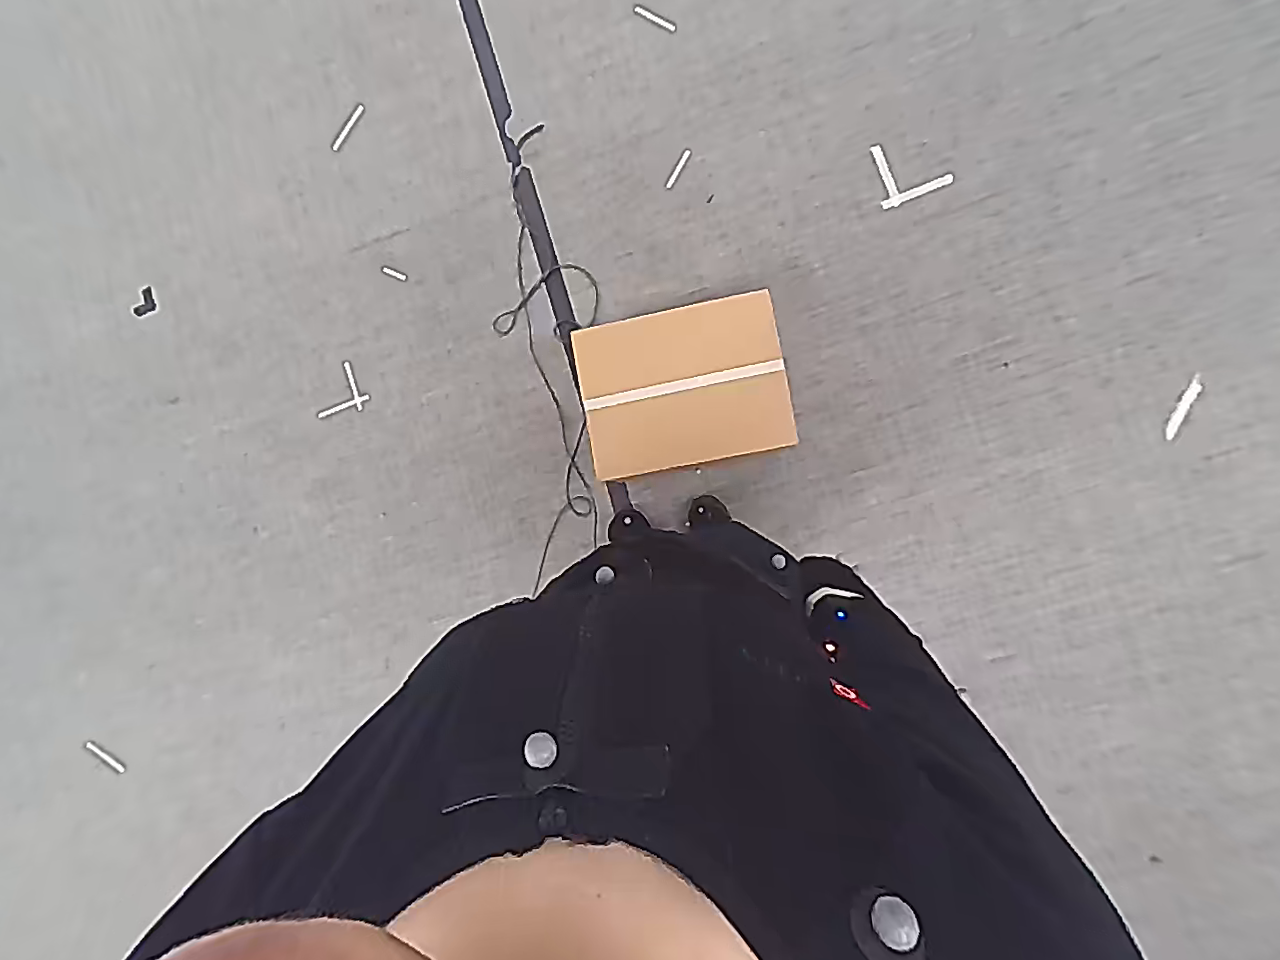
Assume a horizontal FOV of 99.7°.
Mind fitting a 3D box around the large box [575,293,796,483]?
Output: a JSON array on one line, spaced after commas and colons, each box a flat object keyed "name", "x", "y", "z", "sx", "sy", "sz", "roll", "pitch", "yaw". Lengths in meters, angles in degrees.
[{"name": "large box", "x": 0.101, "y": -0.180, "z": 1.232, "sx": 0.408, "sy": 0.320, "sz": 0.320, "roll": -11, "pitch": 89, "yaw": 5}]
